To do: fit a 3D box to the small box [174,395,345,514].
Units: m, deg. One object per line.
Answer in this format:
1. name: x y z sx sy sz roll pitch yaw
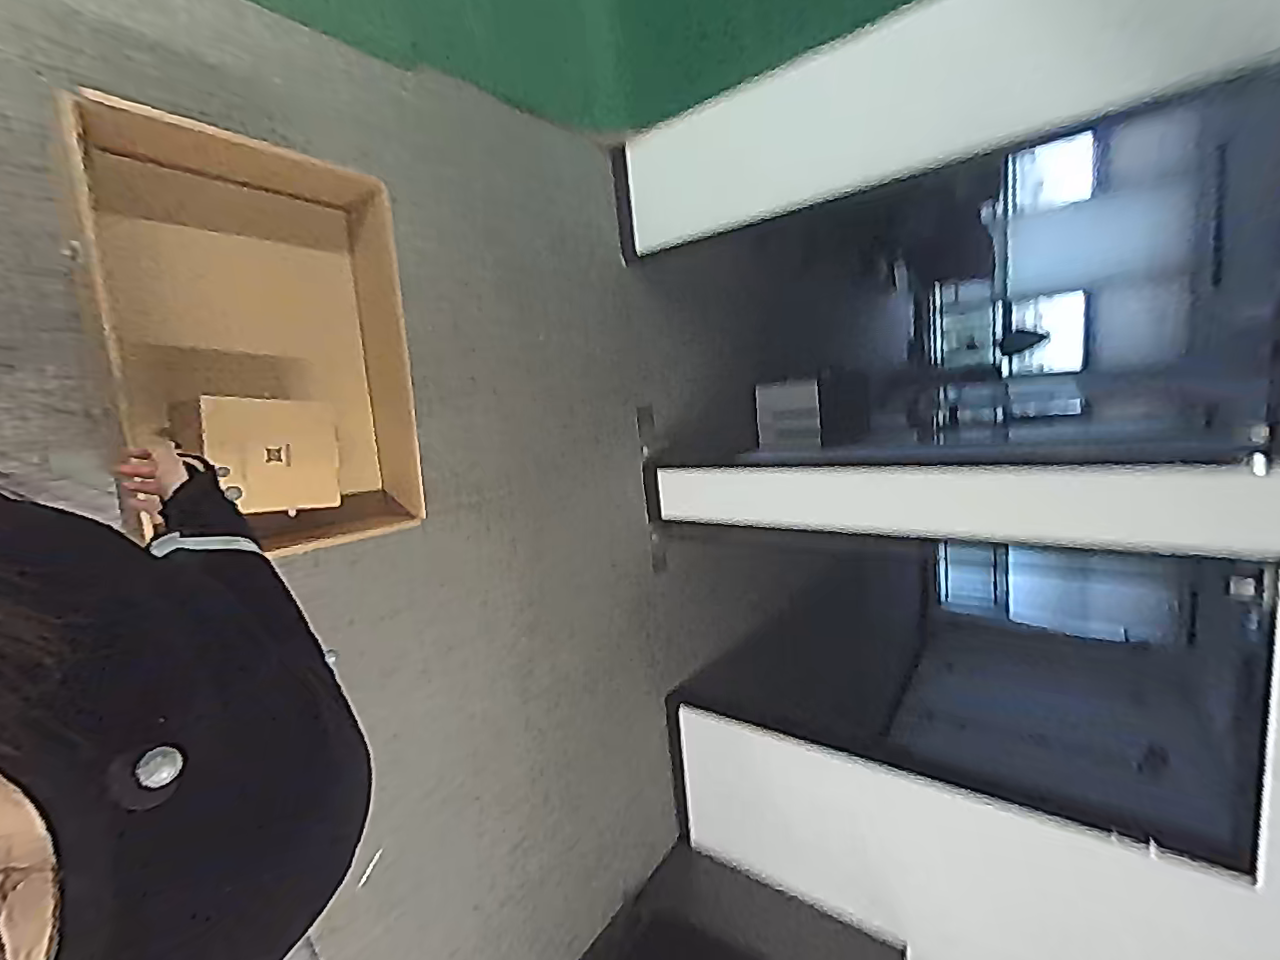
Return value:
1. small box: -0.591 -0.038 0.844 0.179 0.176 0.168 -4 93 -53
